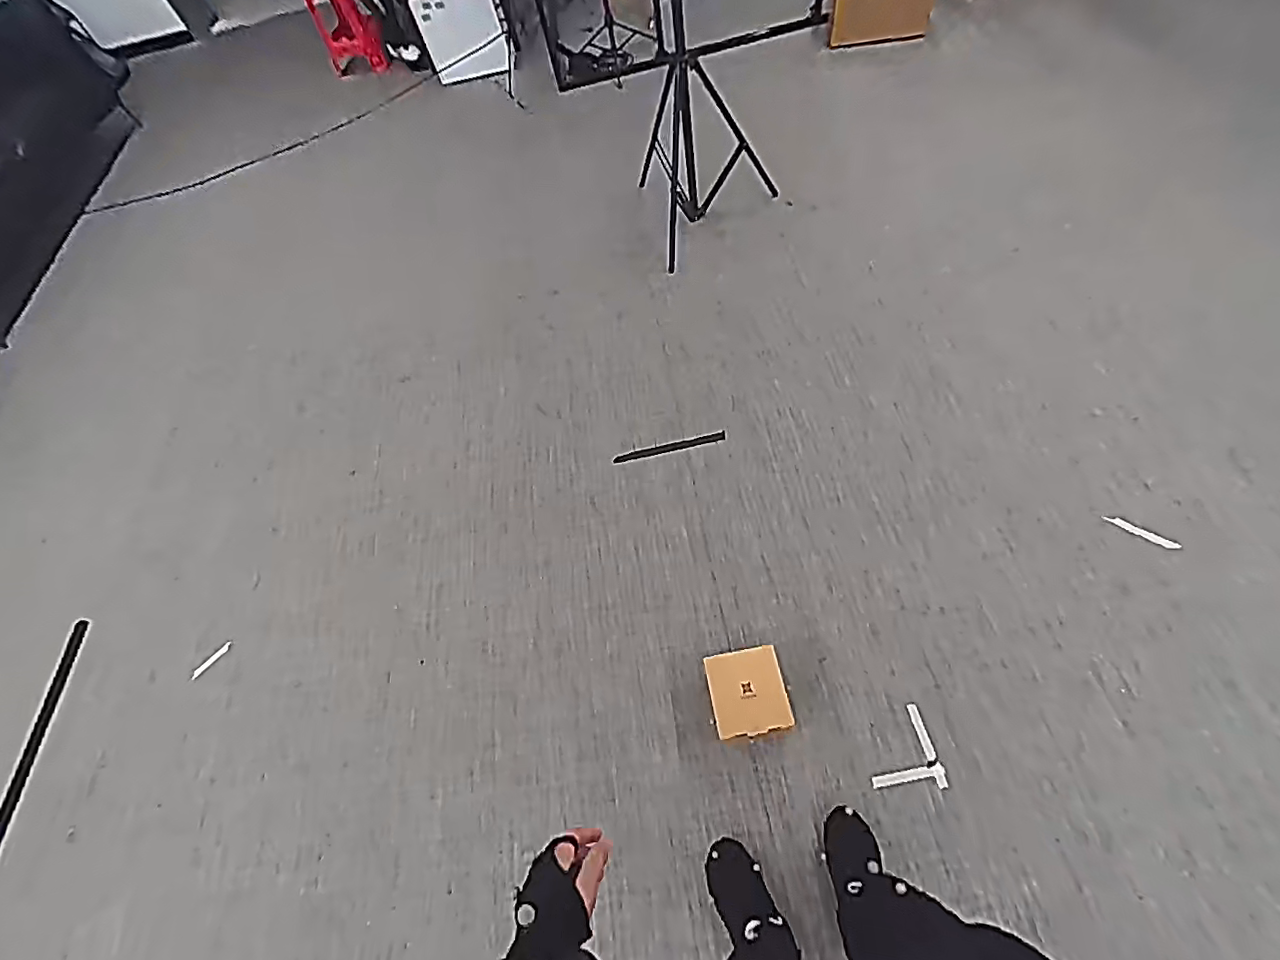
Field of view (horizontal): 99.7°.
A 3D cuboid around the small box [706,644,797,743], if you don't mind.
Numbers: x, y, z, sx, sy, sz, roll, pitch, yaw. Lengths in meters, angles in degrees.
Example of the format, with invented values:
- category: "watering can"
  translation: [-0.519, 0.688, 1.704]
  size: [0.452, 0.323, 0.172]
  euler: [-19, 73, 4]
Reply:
- category: "small box"
  translation: [0.254, 0.502, 1.262]
  size: [0.168, 0.176, 0.179]
  euler: [-13, 60, 3]
